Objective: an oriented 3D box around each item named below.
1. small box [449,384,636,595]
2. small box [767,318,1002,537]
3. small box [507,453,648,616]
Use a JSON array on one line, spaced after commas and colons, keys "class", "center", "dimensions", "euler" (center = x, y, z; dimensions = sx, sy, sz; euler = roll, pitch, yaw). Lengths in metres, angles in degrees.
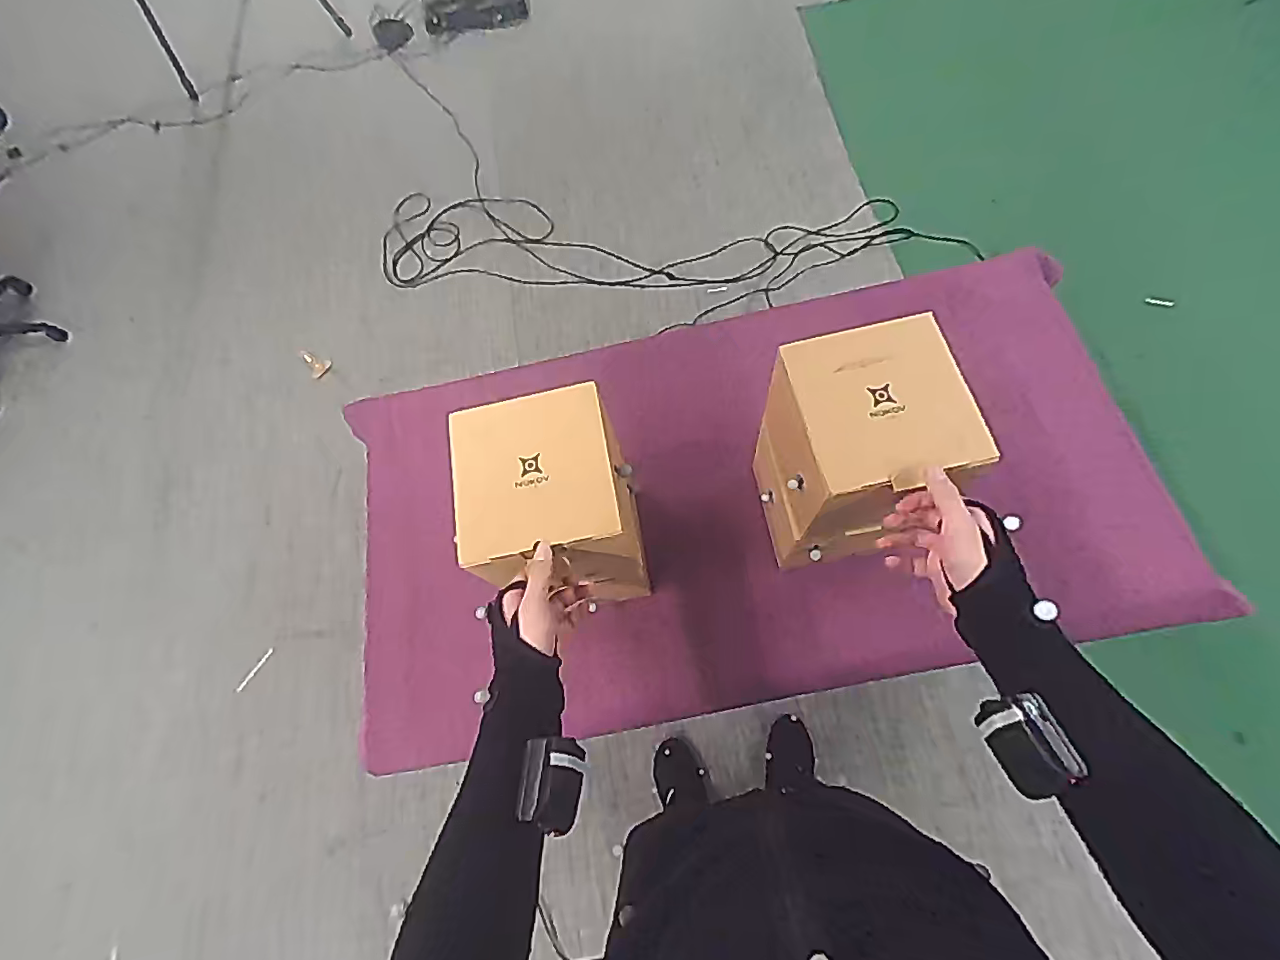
[{"class": "small box", "center": [-0.103, 0.019, 0.618], "dimensions": [0.168, 0.176, 0.179], "euler": [-12, 69, 1]}, {"class": "small box", "center": [0.249, -0.045, 0.602], "dimensions": [0.168, 0.176, 0.179], "euler": [-11, 67, 2]}, {"class": "small box", "center": [-0.086, 0.084, 0.766], "dimensions": [0.168, 0.176, 0.179], "euler": [-11, 68, 3]}]
